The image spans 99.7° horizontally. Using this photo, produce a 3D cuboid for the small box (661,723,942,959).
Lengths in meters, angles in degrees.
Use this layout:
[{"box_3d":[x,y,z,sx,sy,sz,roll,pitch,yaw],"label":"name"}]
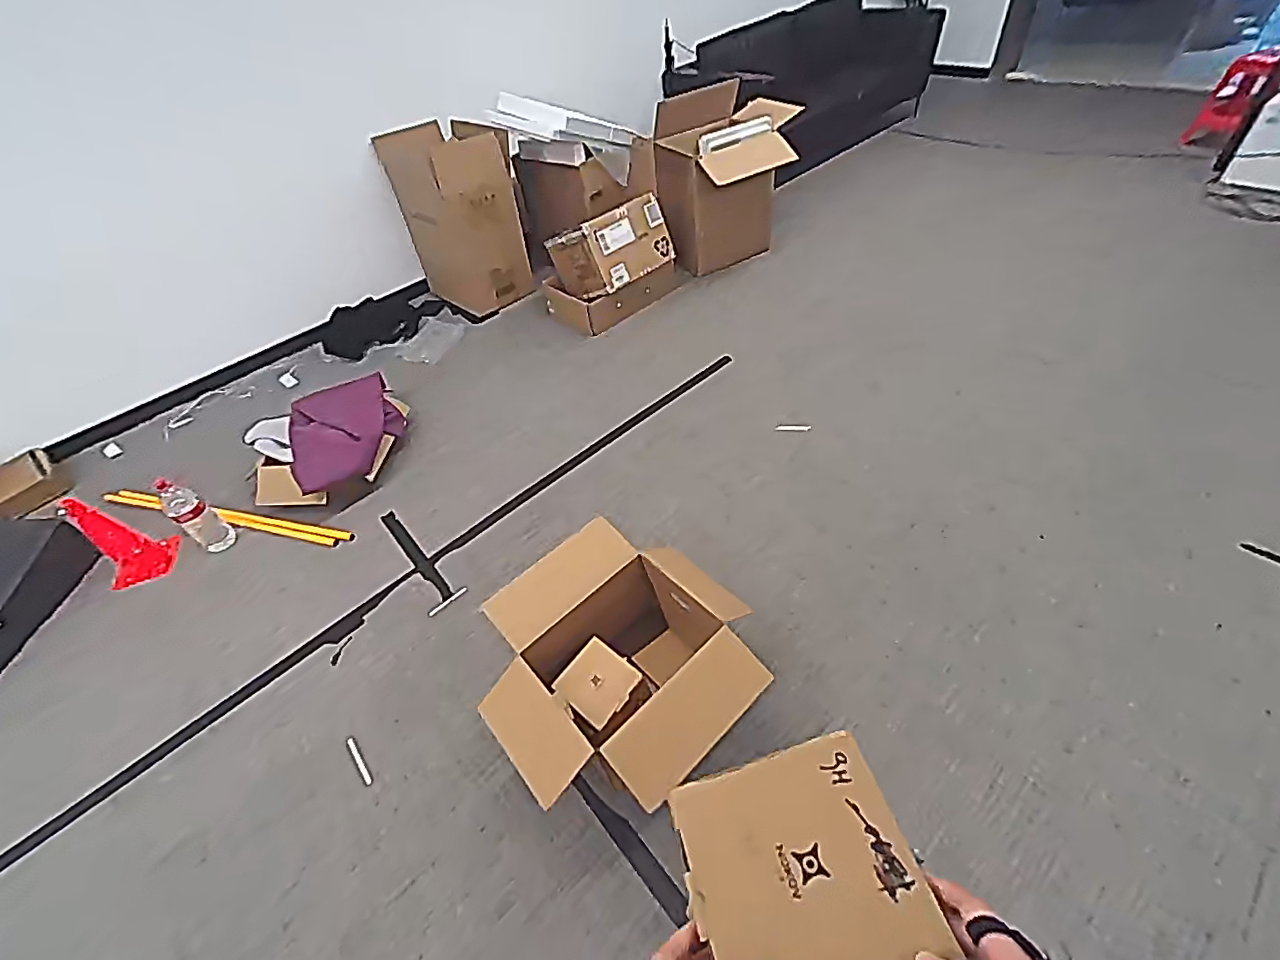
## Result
[{"box_3d":[0.135,0.357,0.500,0.179,0.176,0.168,-18,49,-2],"label":"small box"}]
